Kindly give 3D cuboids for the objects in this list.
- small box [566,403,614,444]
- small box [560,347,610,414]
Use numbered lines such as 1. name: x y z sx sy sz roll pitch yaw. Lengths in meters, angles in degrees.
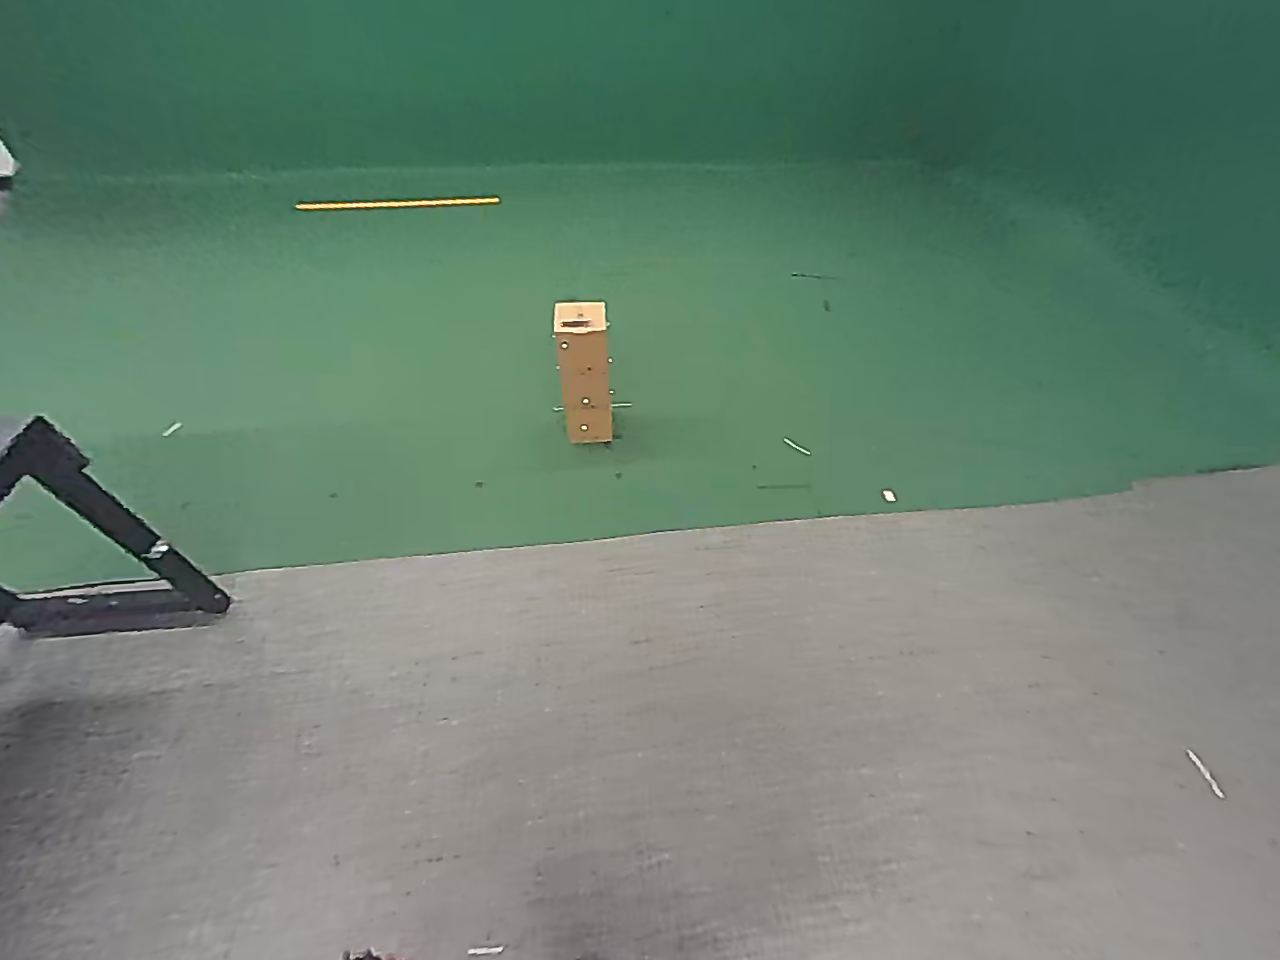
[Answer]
1. small box: -0.191 -0.249 2.071 0.168 0.176 0.179 -5 49 -4
2. small box: -0.195 -0.358 1.946 0.168 0.176 0.179 -4 49 -2
